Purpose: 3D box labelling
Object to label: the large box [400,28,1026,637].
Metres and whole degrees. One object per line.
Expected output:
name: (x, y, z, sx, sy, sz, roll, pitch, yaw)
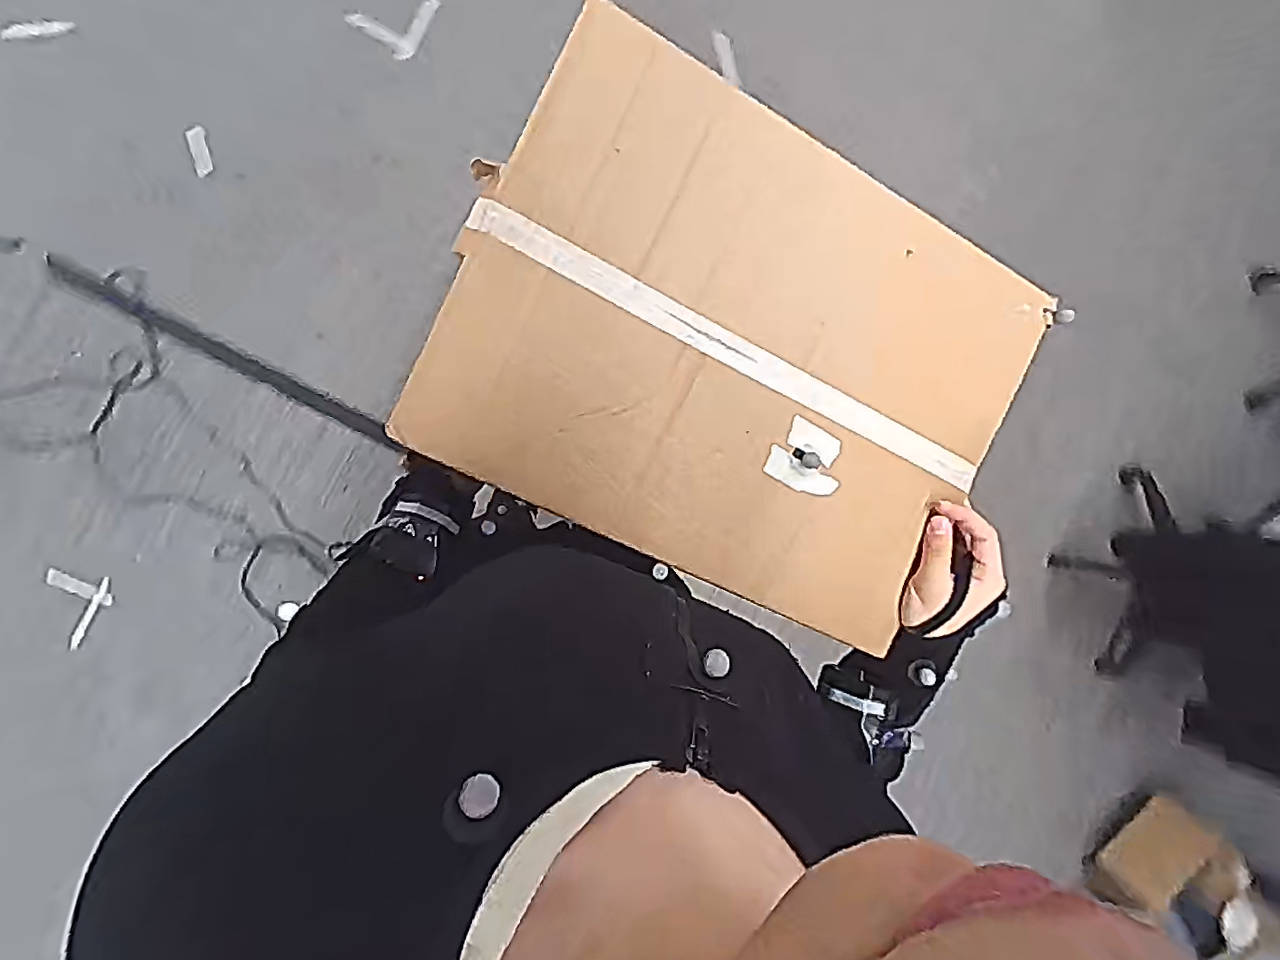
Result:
large box: (0.046, -0.098, 0.539, 0.408, 0.320, 0.320, 24, 92, -13)
